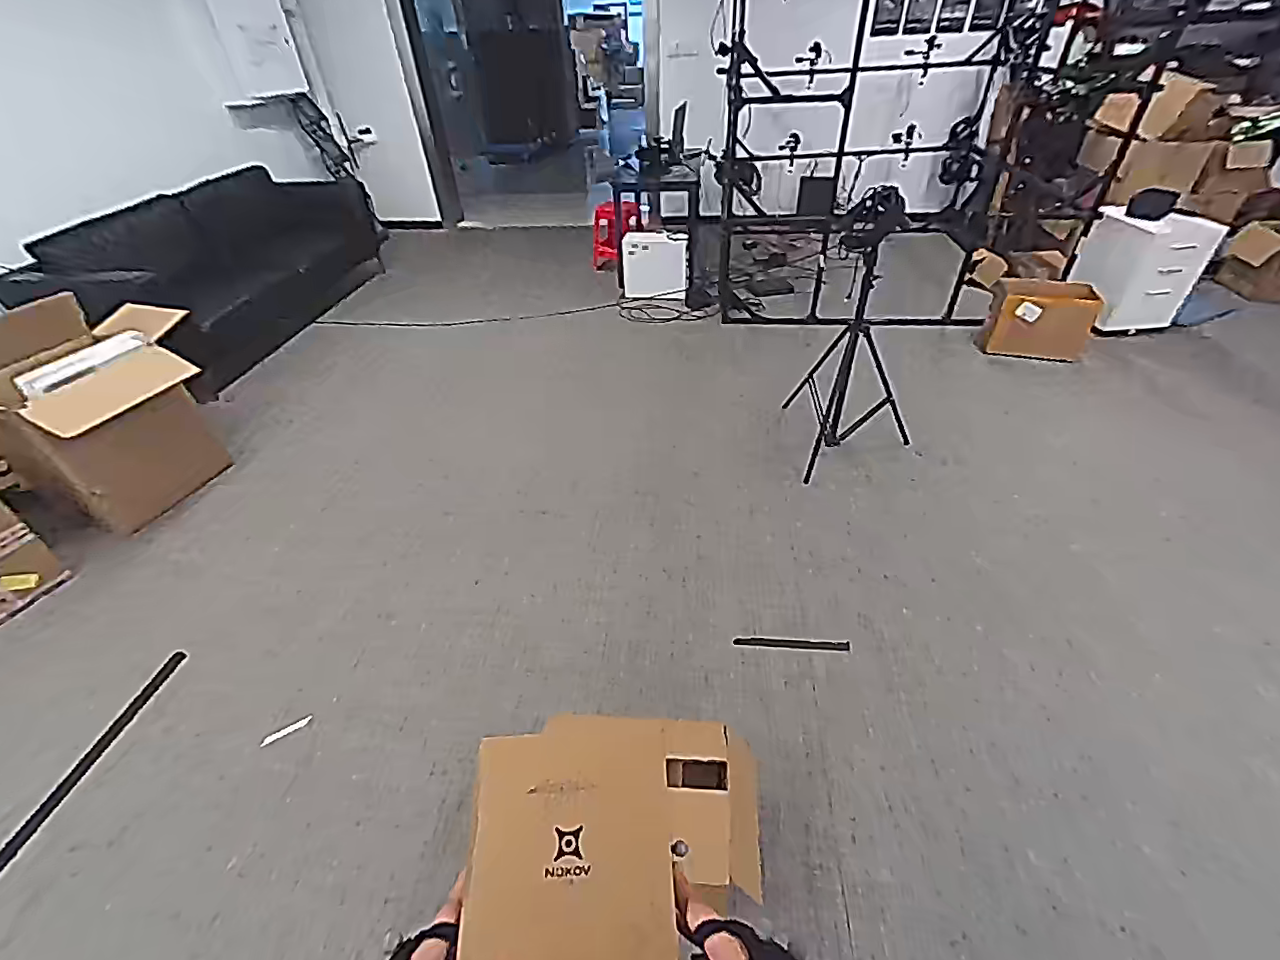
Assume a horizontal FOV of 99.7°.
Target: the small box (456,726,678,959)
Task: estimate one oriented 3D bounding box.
[{"bbox_3d":[-0.053,0.338,0.494,0.168,0.176,0.179,-4,55,0],"label":"small box"}]
